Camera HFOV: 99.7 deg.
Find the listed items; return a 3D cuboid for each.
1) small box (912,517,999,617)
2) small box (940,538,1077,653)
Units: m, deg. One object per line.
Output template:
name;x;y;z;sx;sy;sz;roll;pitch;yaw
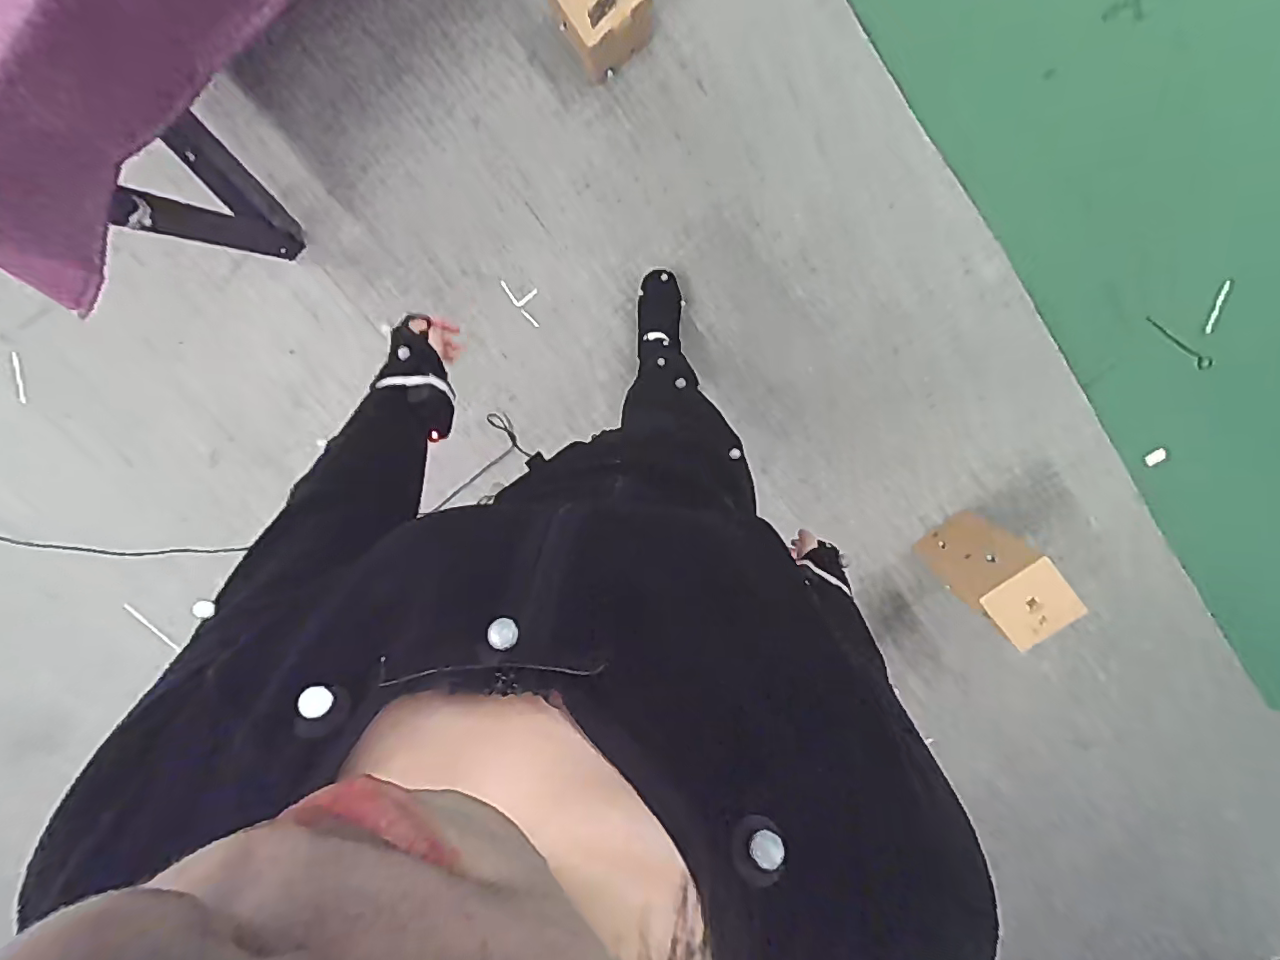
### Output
small box;0.855;0.217;1.421;0.168;0.176;0.179;-37;101;12
small box;0.847;0.257;1.262;0.168;0.176;0.179;-39;100;13
